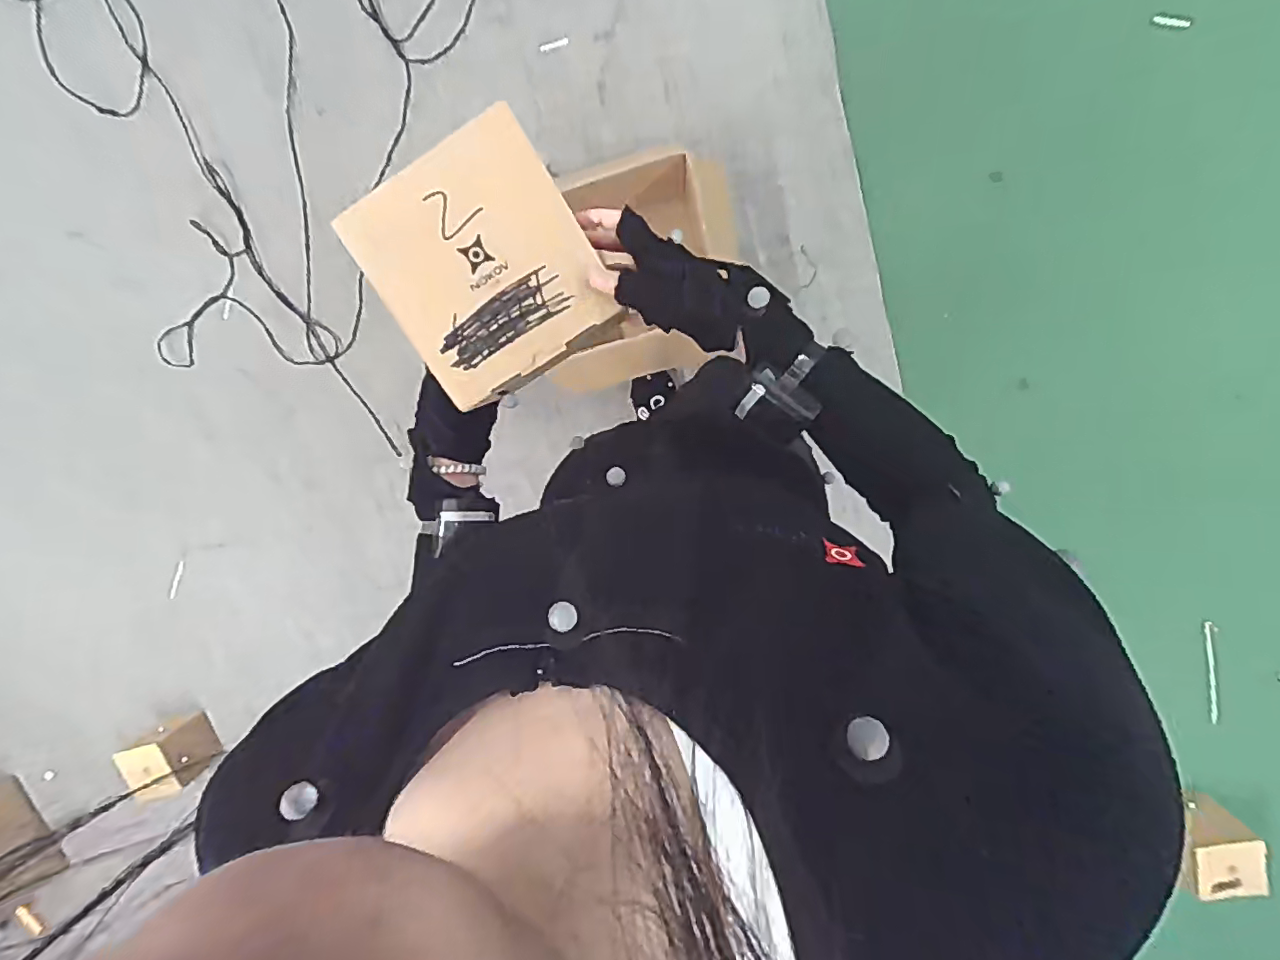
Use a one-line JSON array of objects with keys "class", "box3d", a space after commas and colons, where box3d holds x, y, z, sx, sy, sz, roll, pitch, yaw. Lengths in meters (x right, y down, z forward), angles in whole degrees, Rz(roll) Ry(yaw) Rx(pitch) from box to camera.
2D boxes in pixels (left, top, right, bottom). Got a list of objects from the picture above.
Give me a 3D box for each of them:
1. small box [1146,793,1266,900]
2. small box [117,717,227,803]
[{"class": "small box", "box3d": [1.574, 1.019, 1.511, 0.168, 0.176, 0.179, -14, 101, 8]}, {"class": "small box", "box3d": [-1.496, 0.890, 1.740, 0.168, 0.176, 0.179, -17, 102, 8]}]
